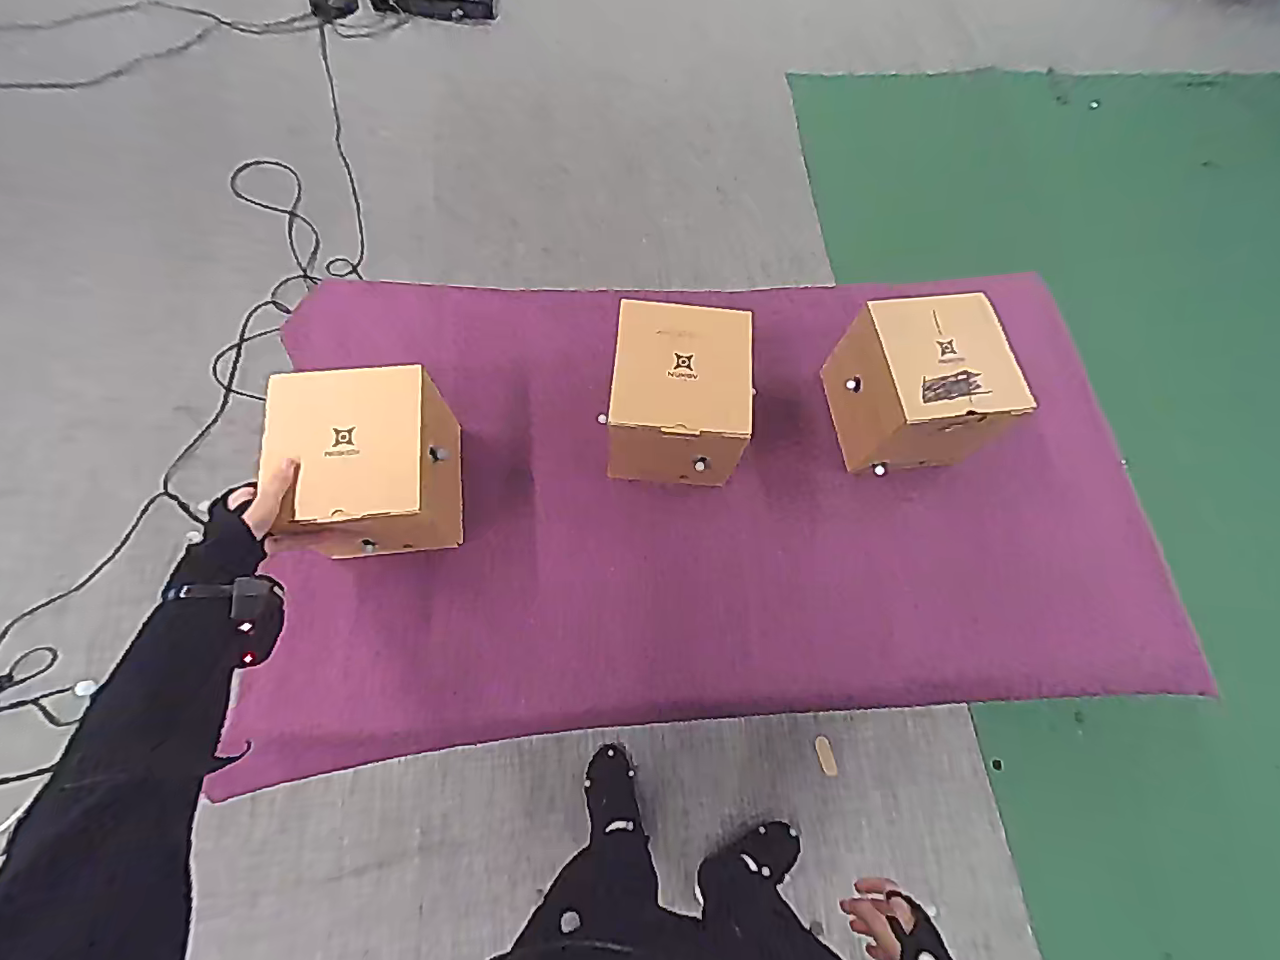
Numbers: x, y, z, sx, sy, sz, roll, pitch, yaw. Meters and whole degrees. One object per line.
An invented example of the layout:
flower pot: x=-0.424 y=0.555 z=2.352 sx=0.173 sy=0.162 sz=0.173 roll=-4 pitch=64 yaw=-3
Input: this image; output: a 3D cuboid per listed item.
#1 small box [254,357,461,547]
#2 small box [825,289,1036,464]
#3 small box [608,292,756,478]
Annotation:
small box: x=-0.319 y=-0.027 z=0.649 sx=0.168 sy=0.176 sz=0.179 roll=-4 pitch=73 yaw=-5
small box: x=0.373 y=-0.130 z=0.733 sx=0.168 sy=0.176 sz=0.179 roll=-5 pitch=69 yaw=-5
small box: x=0.049 y=-0.114 z=0.709 sx=0.168 sy=0.176 sz=0.179 roll=6 pitch=69 yaw=-2
